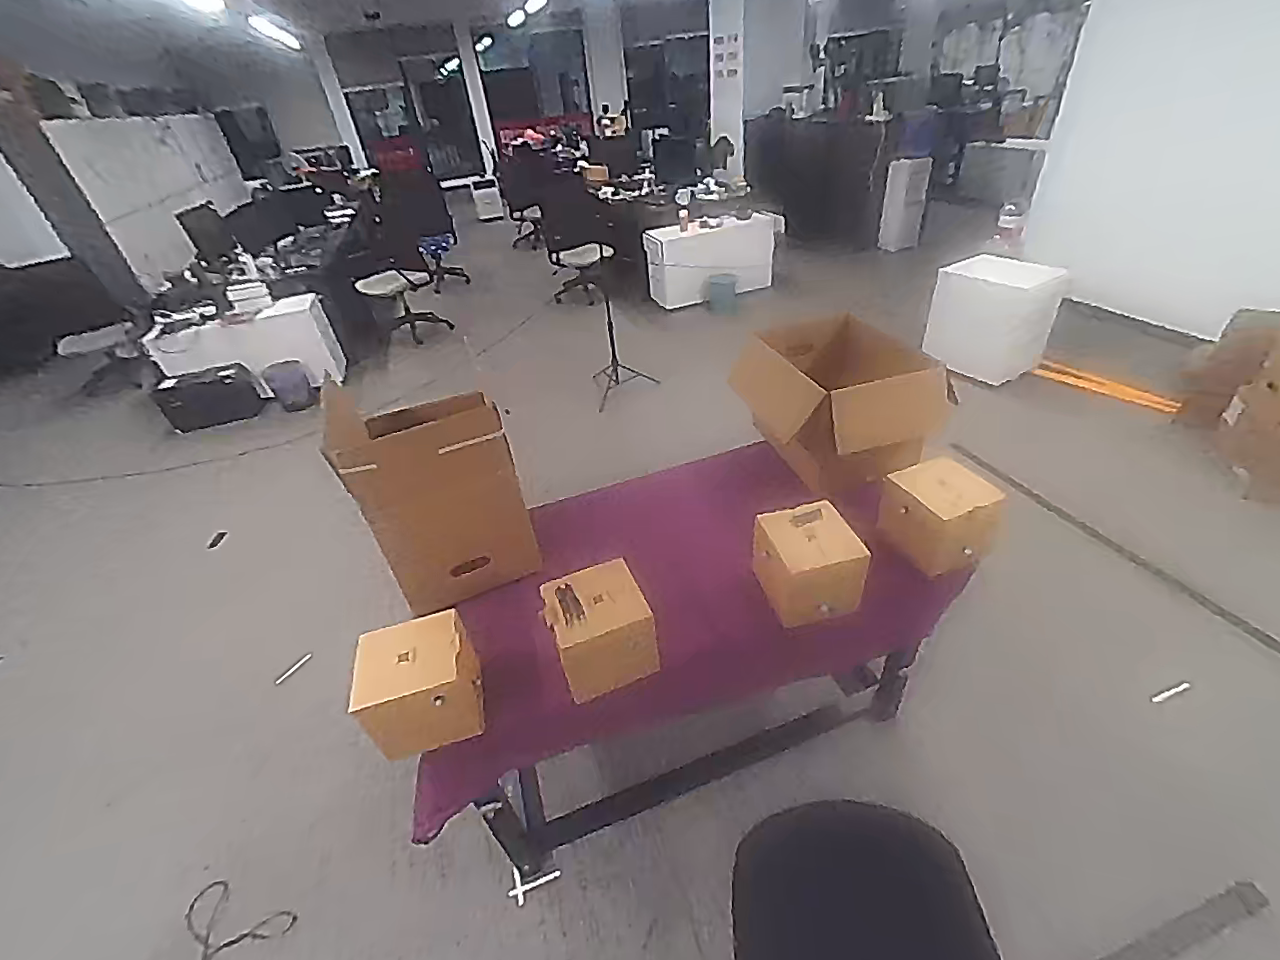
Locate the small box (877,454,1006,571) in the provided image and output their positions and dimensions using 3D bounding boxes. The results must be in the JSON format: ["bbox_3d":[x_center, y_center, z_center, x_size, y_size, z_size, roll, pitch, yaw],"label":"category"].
[{"bbox_3d":[0.657,0.071,1.203,0.168,0.176,0.179,-18,38,-12],"label":"small box"}]

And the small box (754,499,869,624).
[{"bbox_3d":[0.346,0.169,1.131,0.168,0.176,0.179,-13,39,-7],"label":"small box"}]

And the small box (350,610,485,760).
[{"bbox_3d":[-0.397,0.375,0.988,0.179,0.176,0.168,-15,37,-11],"label":"small box"}]
